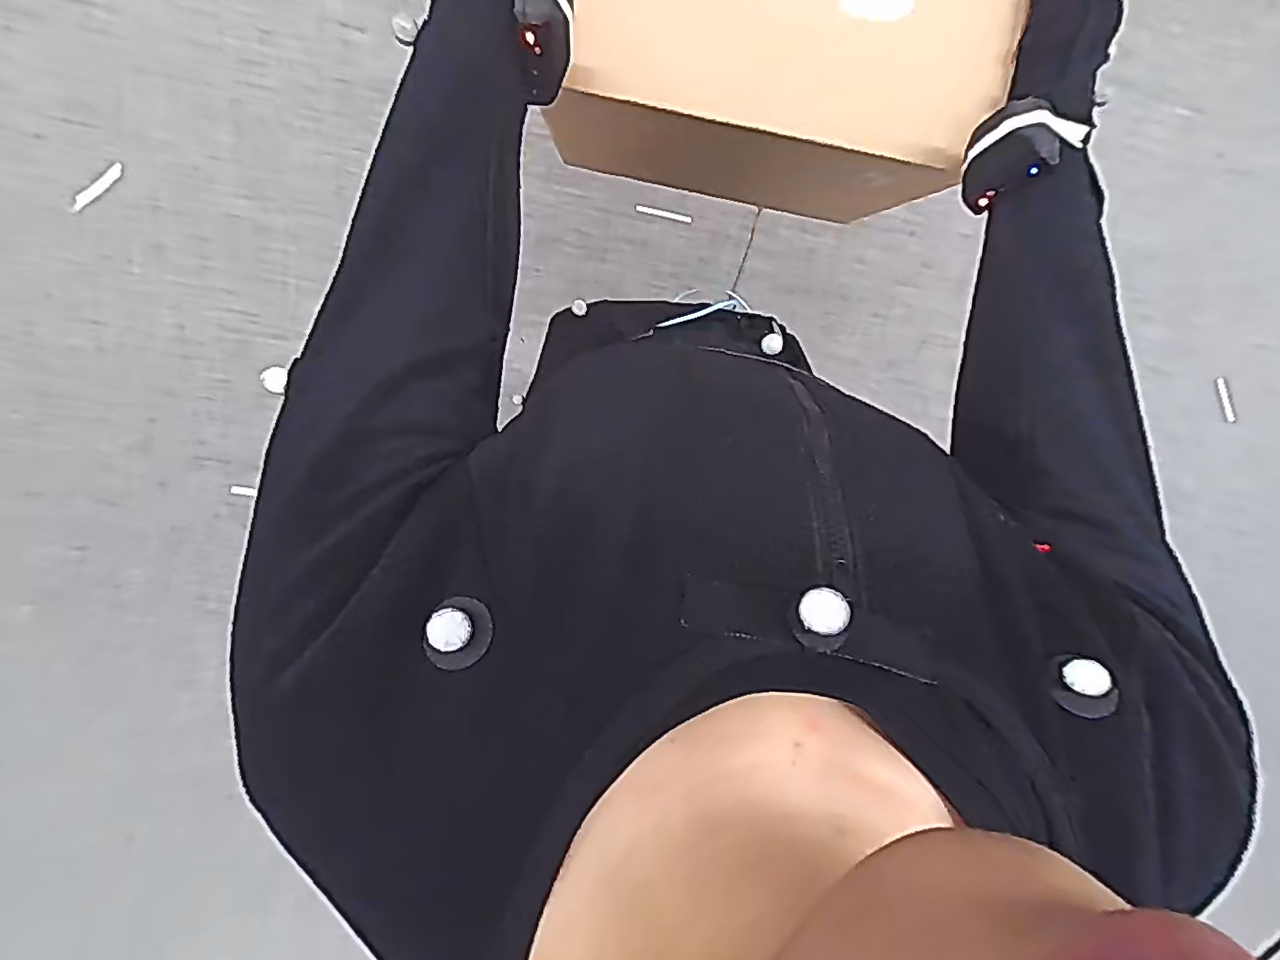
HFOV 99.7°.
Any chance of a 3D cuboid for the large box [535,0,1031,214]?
[{"bbox_3d":[0.125,-0.497,0.559,0.408,0.320,0.320,10,109,-5],"label":"large box"}]
